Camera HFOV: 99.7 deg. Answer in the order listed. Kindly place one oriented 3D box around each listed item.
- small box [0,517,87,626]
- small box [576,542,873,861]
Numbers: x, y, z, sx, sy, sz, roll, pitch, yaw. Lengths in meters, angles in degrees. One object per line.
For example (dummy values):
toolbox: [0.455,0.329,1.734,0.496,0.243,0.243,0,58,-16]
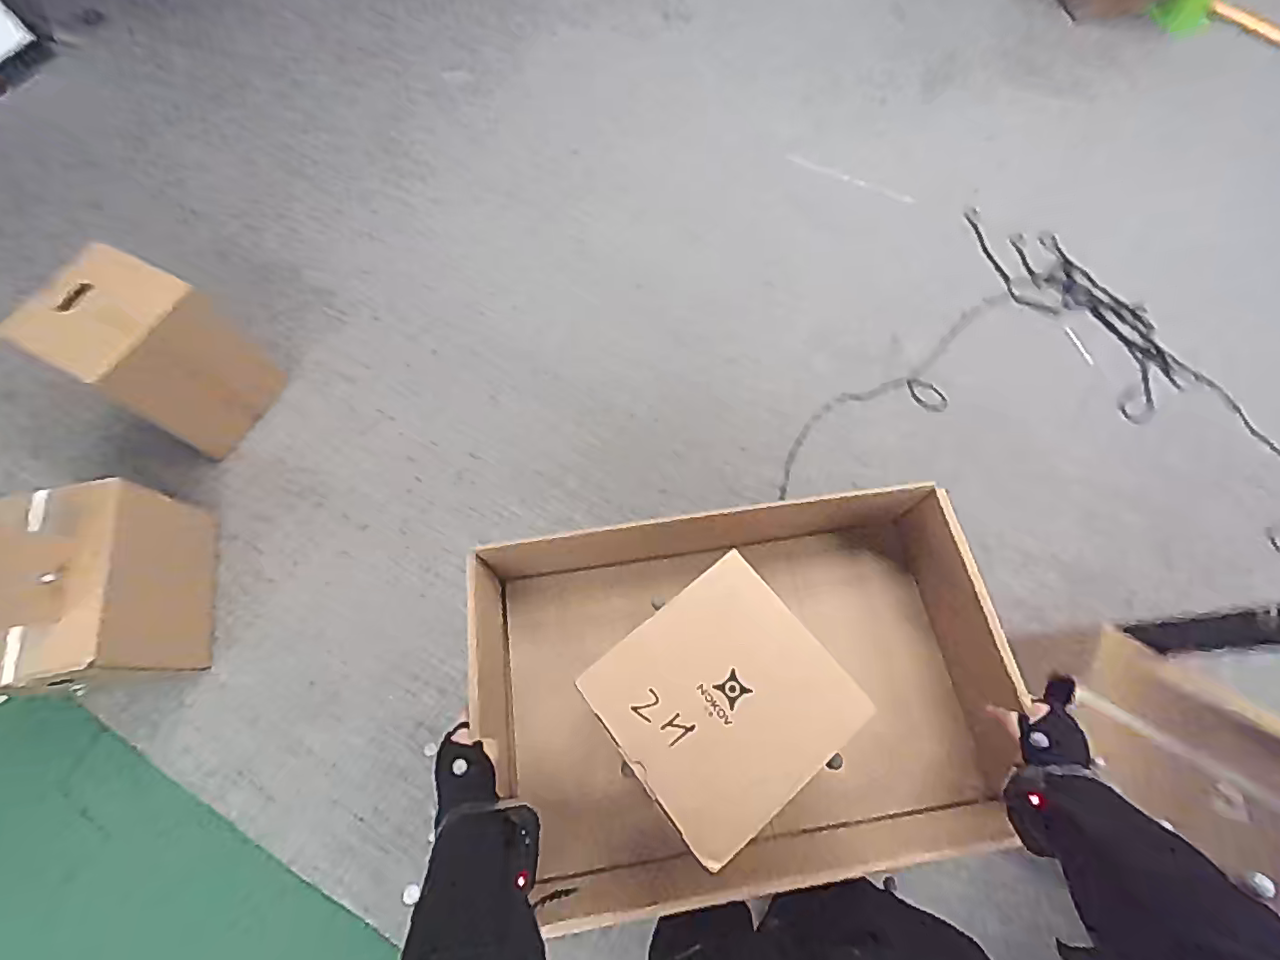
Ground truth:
small box: [-1.241,0.182,1.032,0.179,0.176,0.168,-7,69,-3]
small box: [0.065,0.190,0.491,0.179,0.176,0.168,-37,70,-13]
